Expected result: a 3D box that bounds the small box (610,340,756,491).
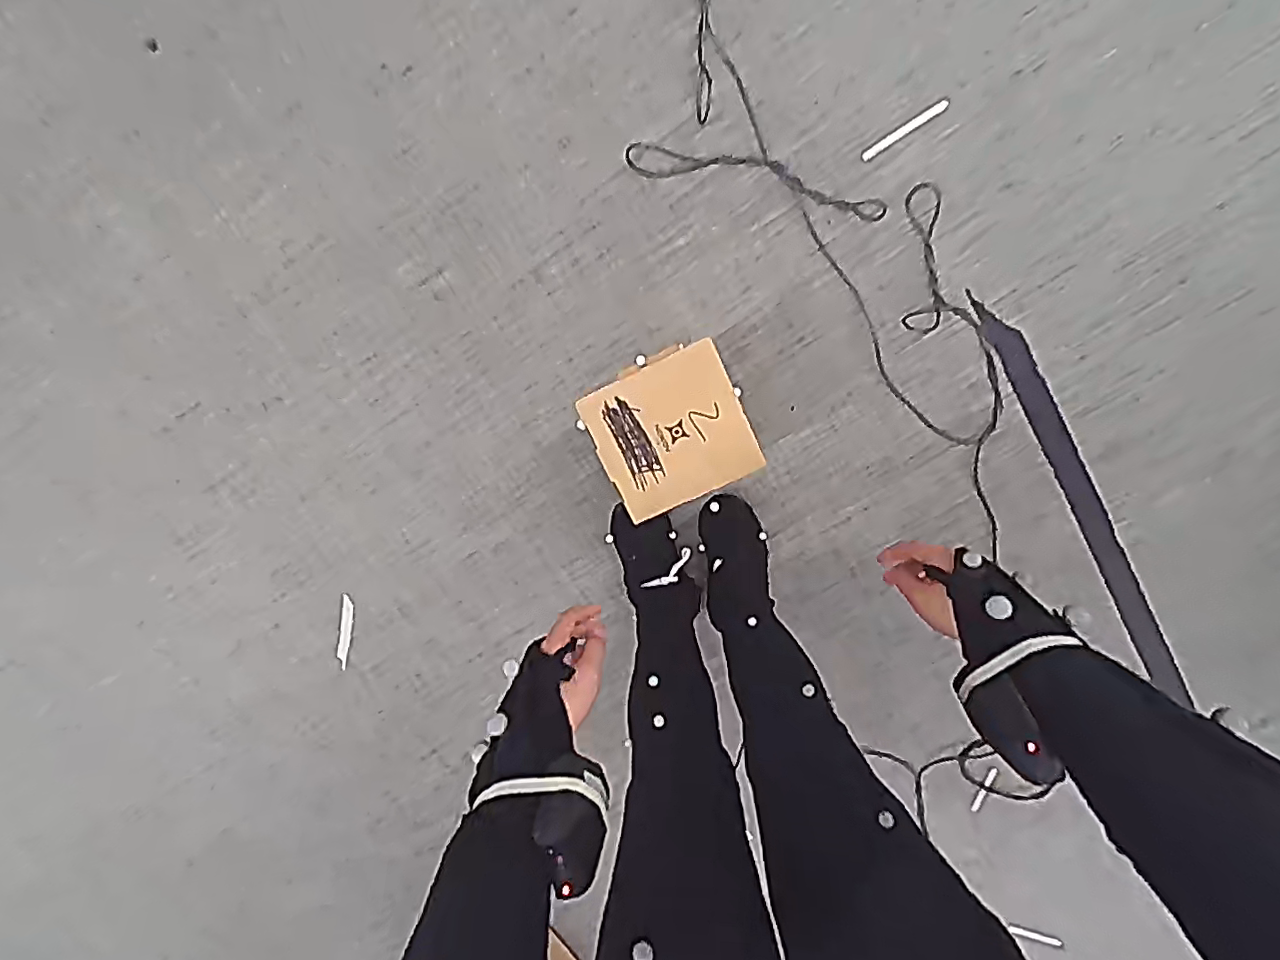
[{"bbox_3d":[0.066,-0.108,0.861,0.168,0.176,0.179,-24,102,9],"label":"small box"}]
